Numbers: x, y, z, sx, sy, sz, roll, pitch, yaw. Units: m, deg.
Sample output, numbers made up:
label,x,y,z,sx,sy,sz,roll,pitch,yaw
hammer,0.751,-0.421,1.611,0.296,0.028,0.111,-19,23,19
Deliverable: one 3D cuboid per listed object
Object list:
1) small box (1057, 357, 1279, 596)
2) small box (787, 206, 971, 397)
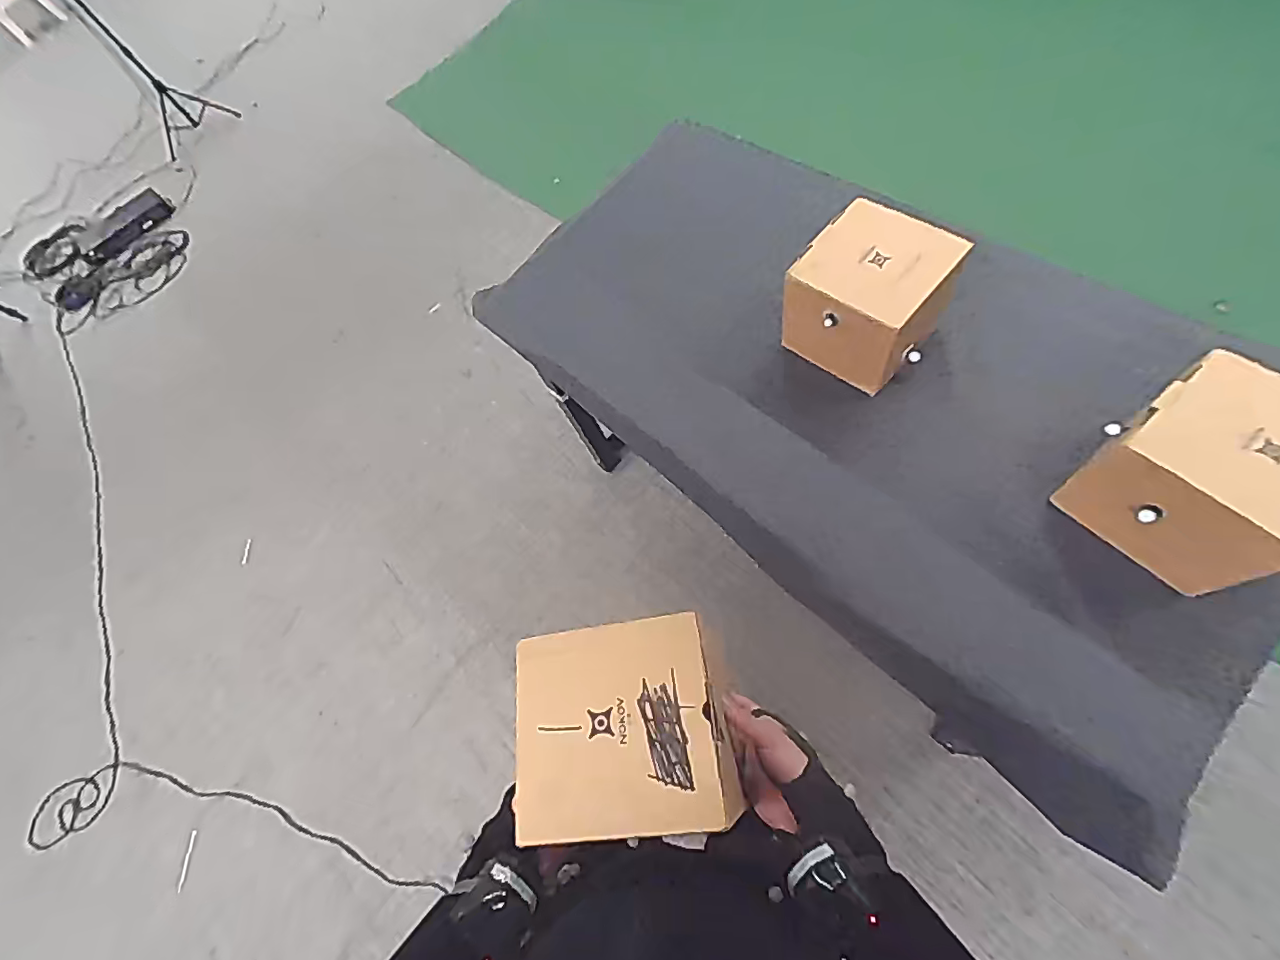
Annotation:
label,x,y,z,sx,sy,sz,roll,pitch,yaw
small box,0.630,0.005,0.607,0.168,0.176,0.179,-41,63,-6
small box,0.332,-0.253,0.795,0.179,0.176,0.168,39,81,23
